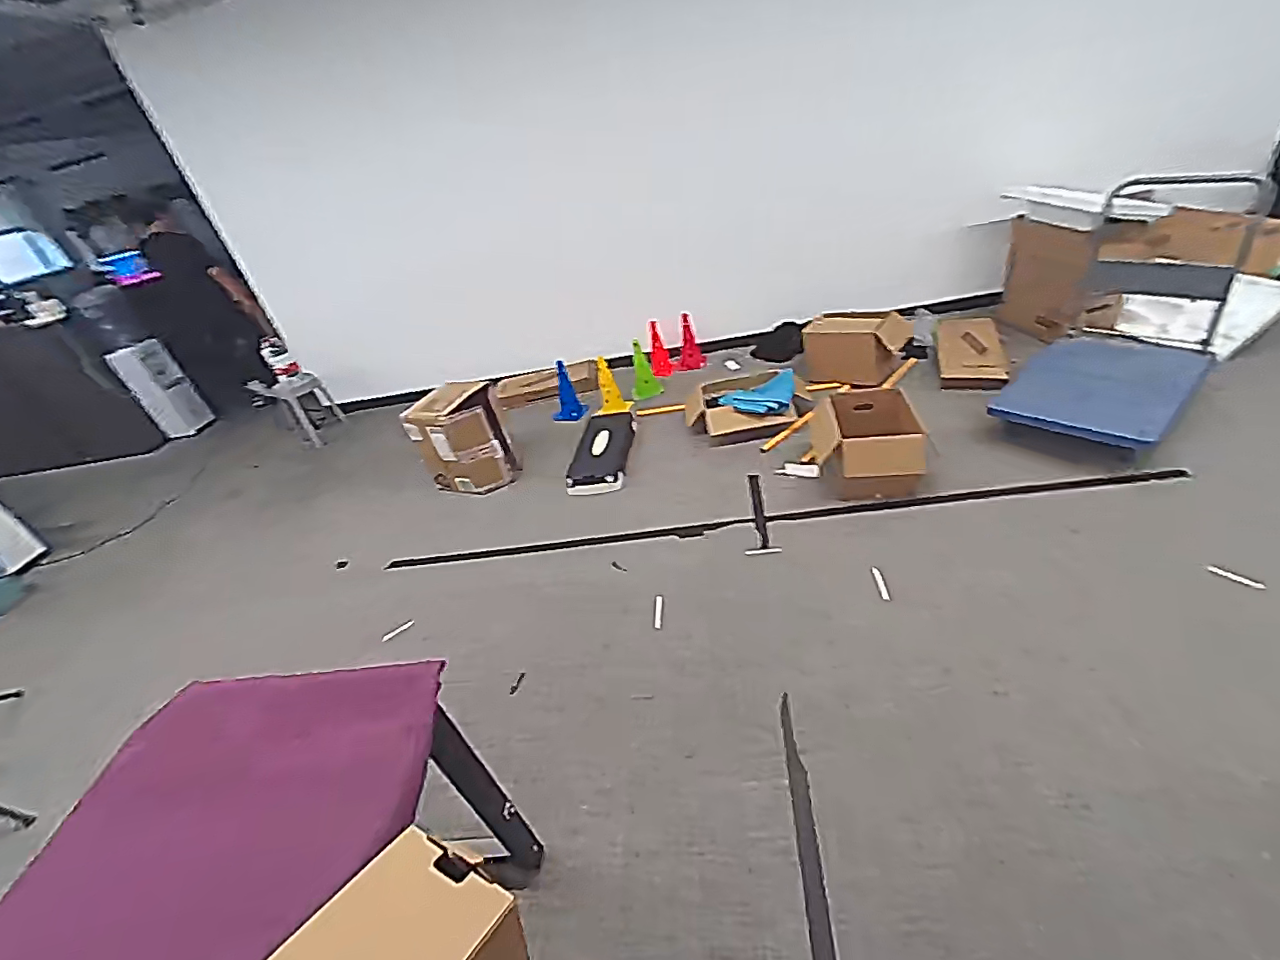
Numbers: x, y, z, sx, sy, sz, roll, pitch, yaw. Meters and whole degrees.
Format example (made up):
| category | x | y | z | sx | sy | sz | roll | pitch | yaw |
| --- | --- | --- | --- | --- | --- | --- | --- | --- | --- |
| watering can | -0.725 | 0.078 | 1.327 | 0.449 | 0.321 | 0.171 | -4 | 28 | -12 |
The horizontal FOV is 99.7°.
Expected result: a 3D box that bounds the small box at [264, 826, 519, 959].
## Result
| category | x | y | z | sx | sy | sz | roll | pitch | yaw |
| --- | --- | --- | --- | --- | --- | --- | --- | --- | --- |
| small box | -0.229 | 0.497 | 0.520 | 0.168 | 0.176 | 0.179 | 7 | 21 | 32 |
